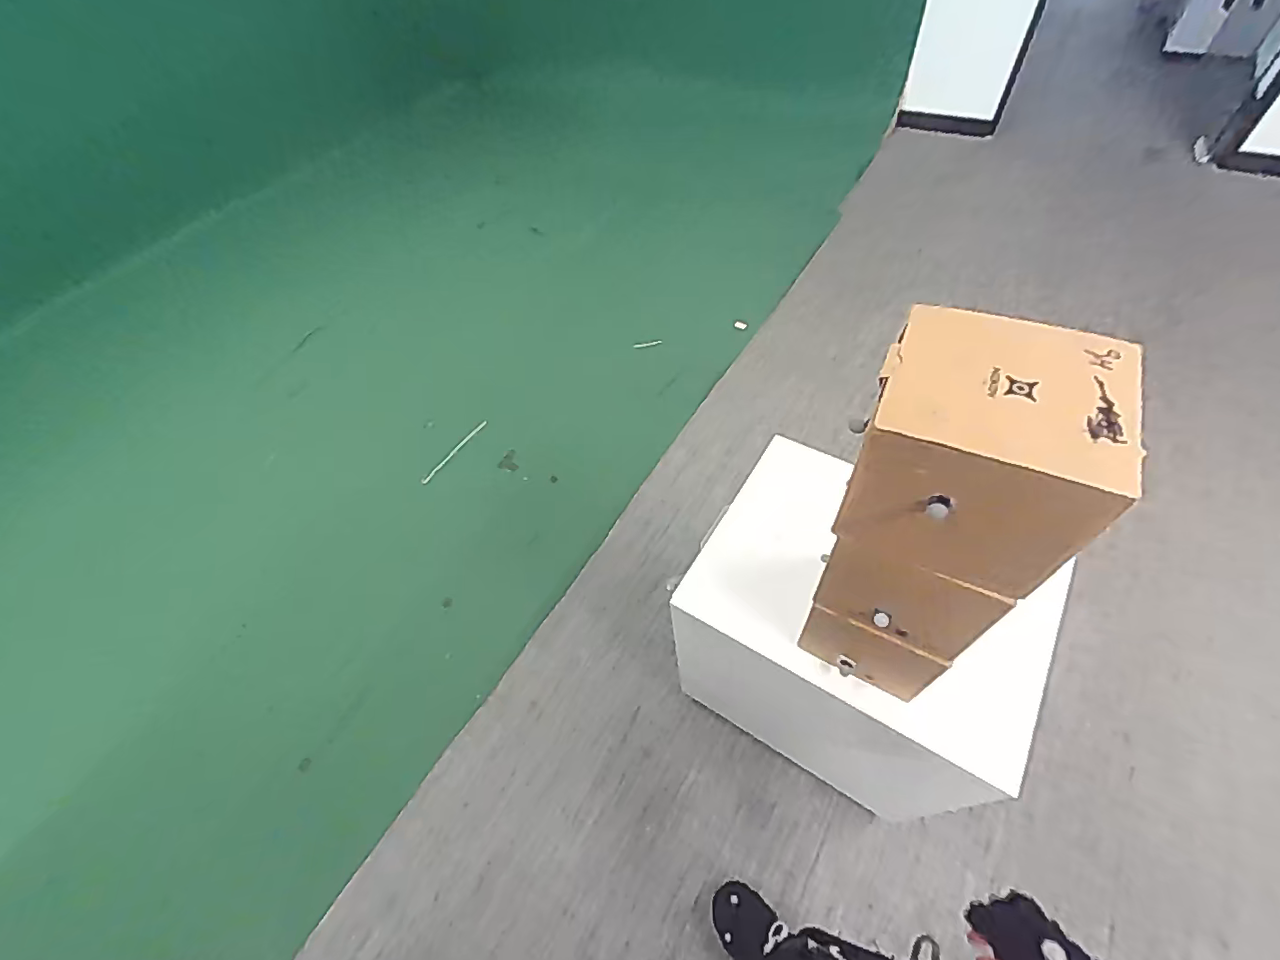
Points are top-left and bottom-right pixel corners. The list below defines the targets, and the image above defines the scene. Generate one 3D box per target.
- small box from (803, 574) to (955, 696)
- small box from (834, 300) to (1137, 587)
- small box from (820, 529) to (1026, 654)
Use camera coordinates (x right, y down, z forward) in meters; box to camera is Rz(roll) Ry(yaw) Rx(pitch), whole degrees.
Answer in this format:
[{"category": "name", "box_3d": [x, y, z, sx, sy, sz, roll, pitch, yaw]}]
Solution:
[{"category": "small box", "box_3d": [0.335, 0.164, 0.742, 0.168, 0.176, 0.179, 22, 62, 23]}, {"category": "small box", "box_3d": [0.288, -0.029, 0.481, 0.179, 0.176, 0.168, 19, 60, 21]}, {"category": "small box", "box_3d": [0.317, 0.064, 0.613, 0.168, 0.176, 0.179, 20, 58, 21]}]
